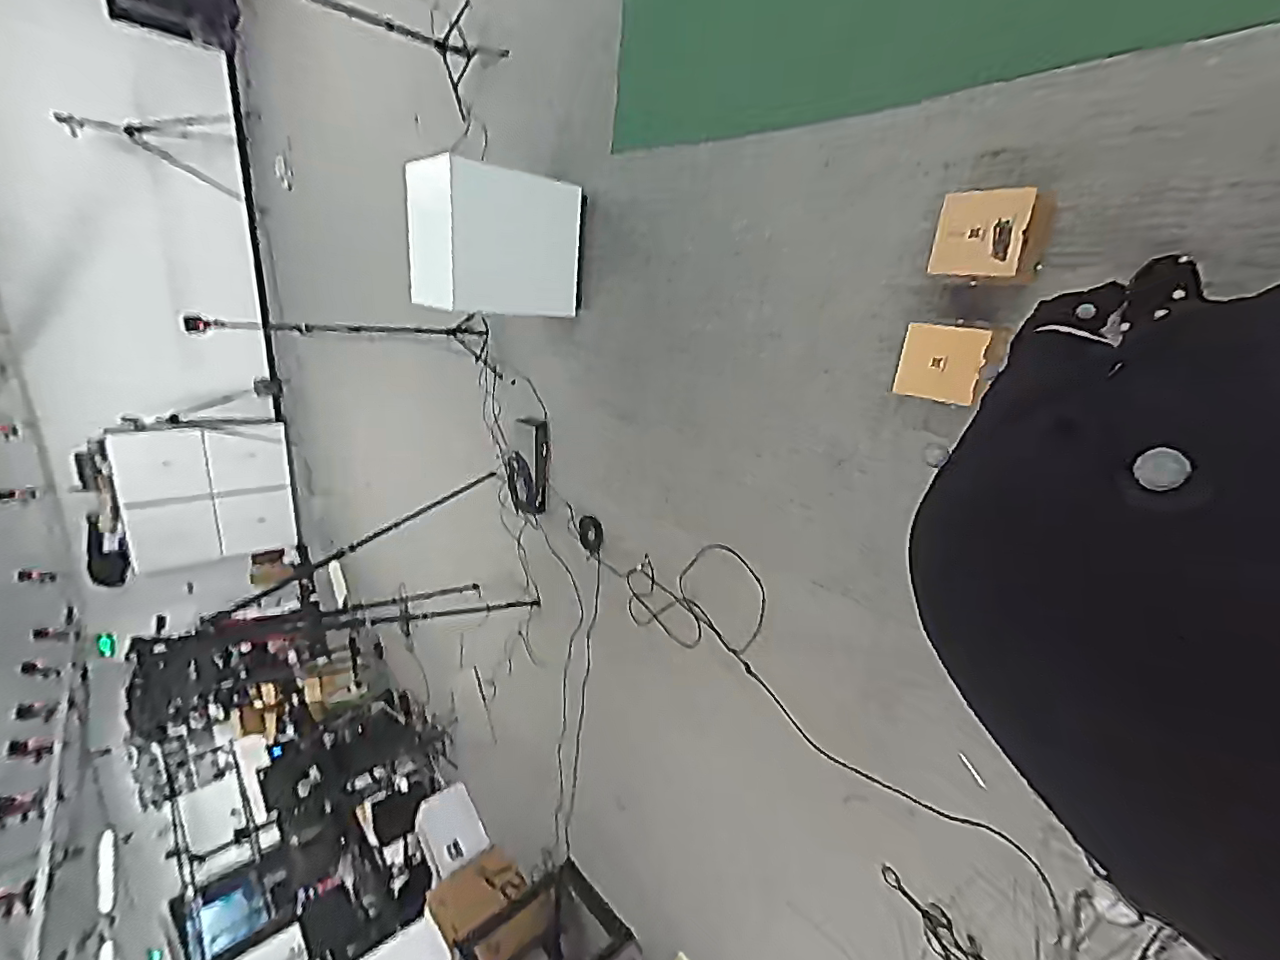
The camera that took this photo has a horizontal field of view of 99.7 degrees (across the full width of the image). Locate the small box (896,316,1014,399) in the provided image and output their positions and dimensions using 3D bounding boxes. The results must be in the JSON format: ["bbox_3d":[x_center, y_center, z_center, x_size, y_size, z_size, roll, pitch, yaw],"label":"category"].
[{"bbox_3d":[0.740,-0.289,1.273,0.179,0.176,0.168,23,115,42],"label":"small box"}]

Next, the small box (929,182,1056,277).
[{"bbox_3d":[0.771,-0.539,1.180,0.179,0.176,0.168,23,115,43],"label":"small box"}]
